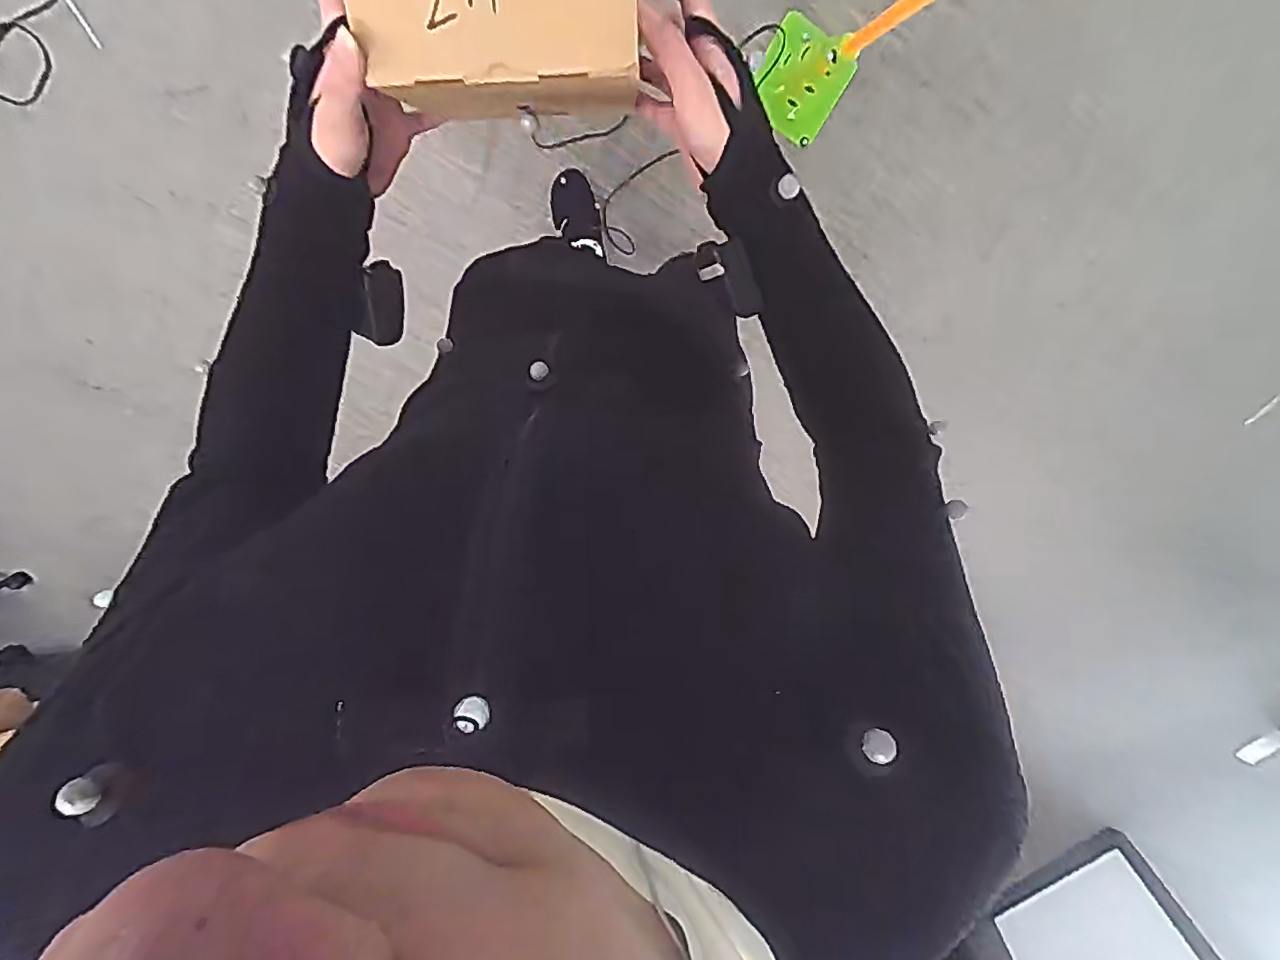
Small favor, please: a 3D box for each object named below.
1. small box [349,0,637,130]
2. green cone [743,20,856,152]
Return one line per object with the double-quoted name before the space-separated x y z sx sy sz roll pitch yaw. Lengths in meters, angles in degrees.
"small box" -0.088 -0.350 0.363 0.168 0.176 0.179 -2 118 0
"green cone" 0.367 -0.832 1.102 0.202 0.368 0.200 28 114 -13
